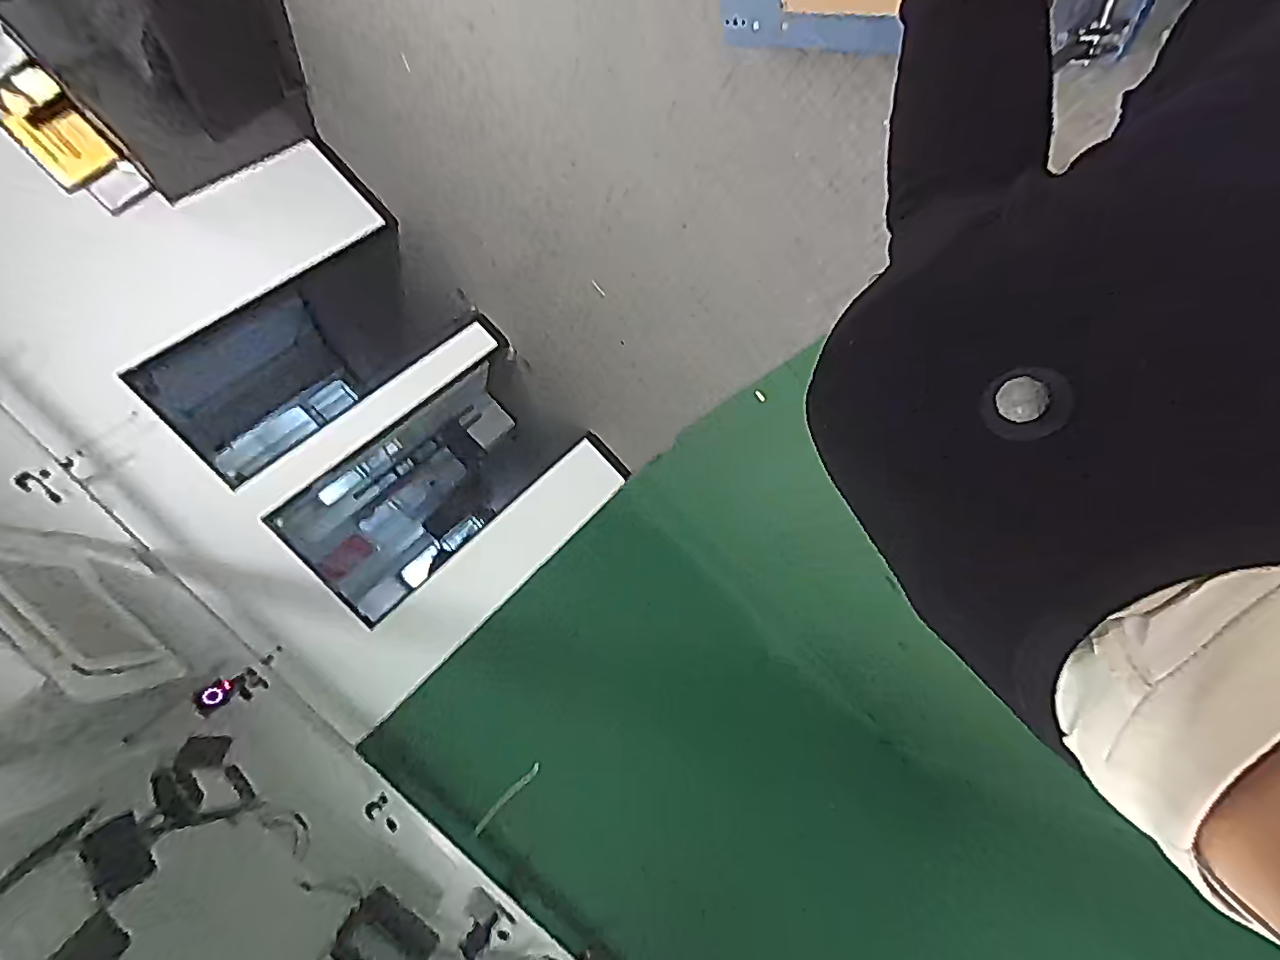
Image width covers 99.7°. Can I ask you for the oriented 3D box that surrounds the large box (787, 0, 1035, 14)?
[{"bbox_3d":[0.482,-0.946,0.805,0.408,0.320,0.320,33,155,30],"label":"large box"}]
